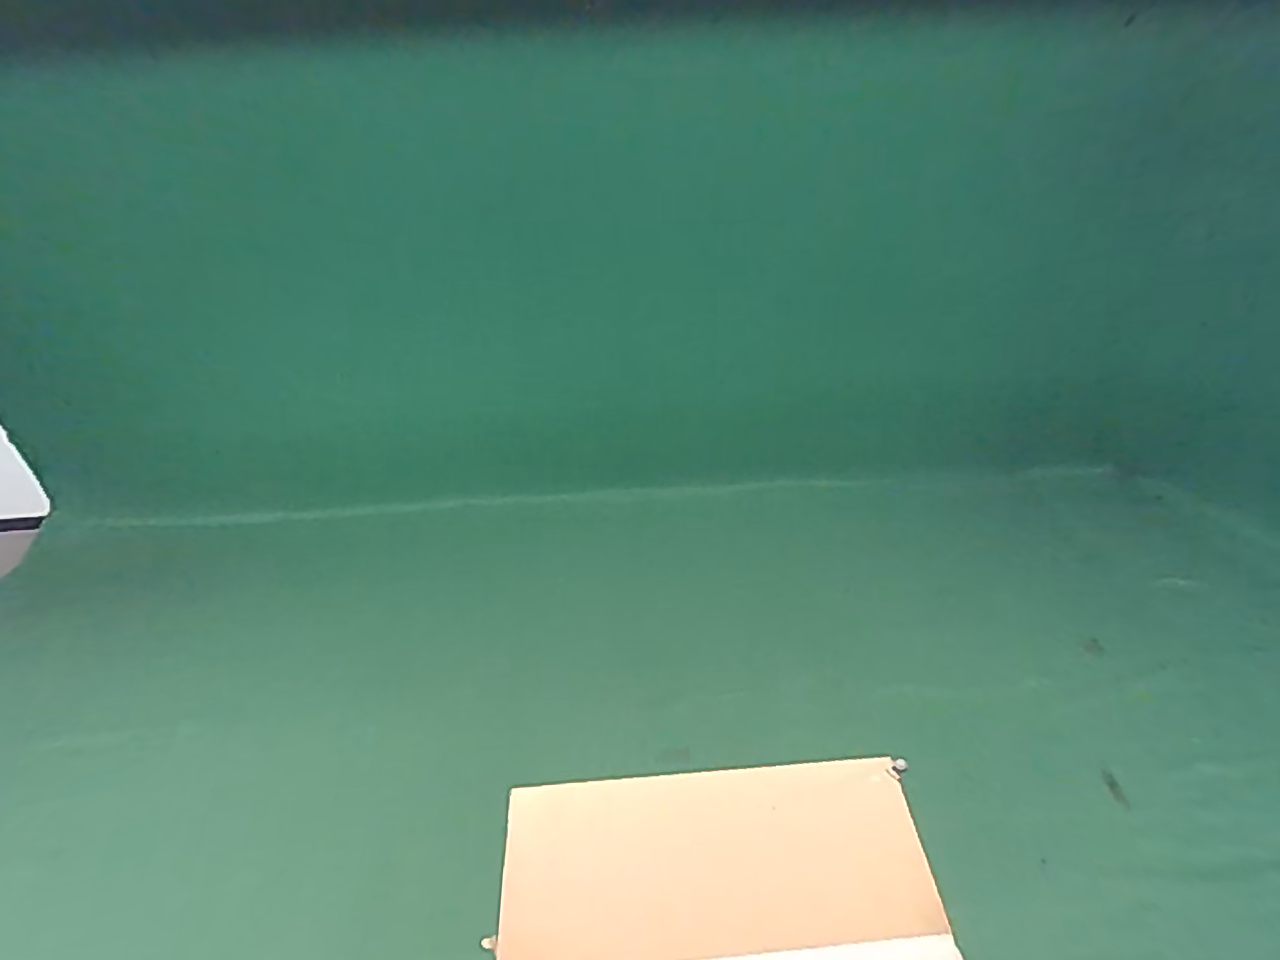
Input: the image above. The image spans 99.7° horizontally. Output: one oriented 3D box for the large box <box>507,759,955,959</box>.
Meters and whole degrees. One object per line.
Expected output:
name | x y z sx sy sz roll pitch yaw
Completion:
large box | 0.081 0.531 0.585 0.408 0.320 0.320 -4 49 -3
